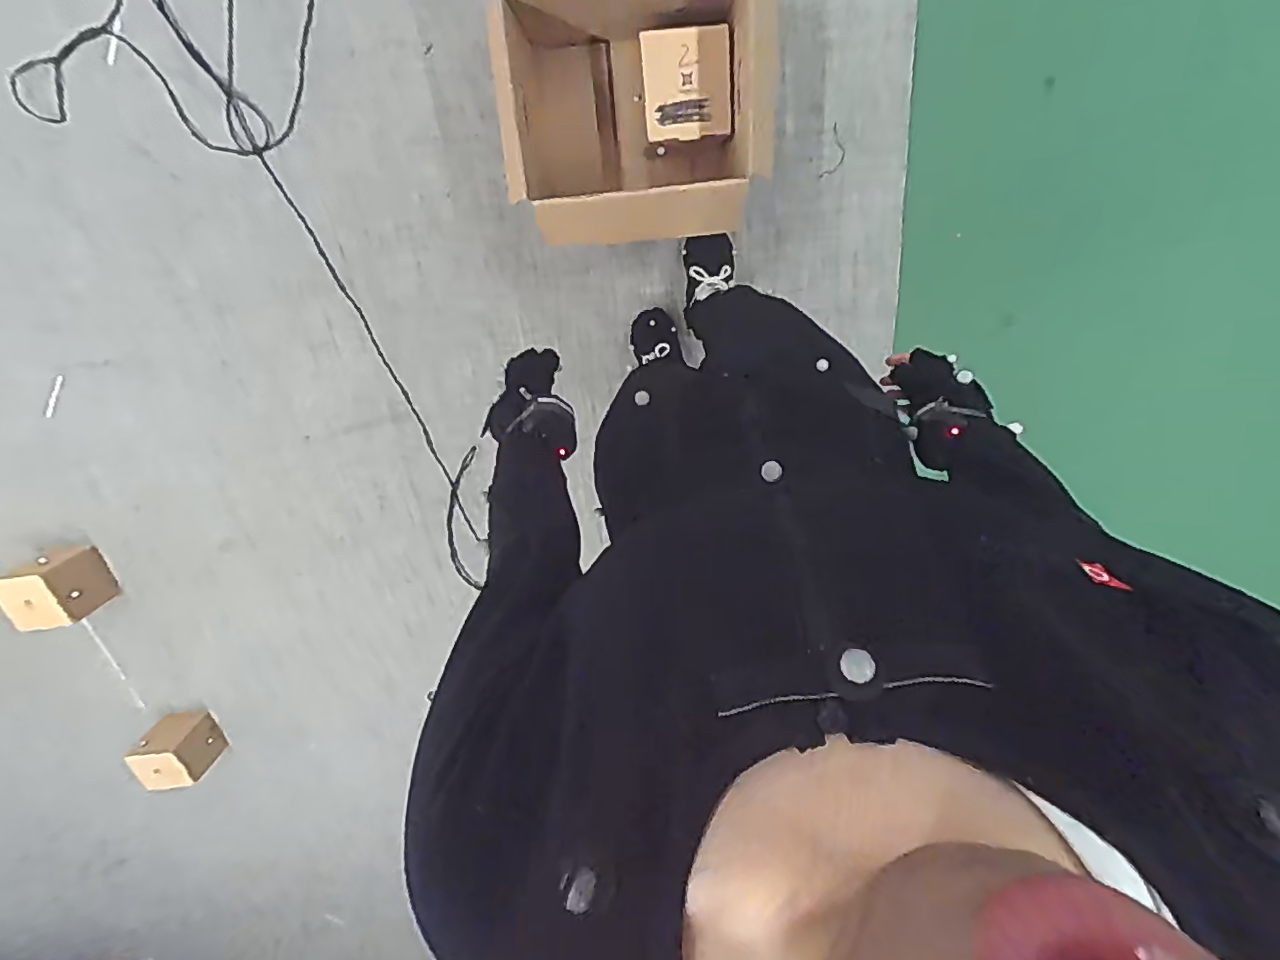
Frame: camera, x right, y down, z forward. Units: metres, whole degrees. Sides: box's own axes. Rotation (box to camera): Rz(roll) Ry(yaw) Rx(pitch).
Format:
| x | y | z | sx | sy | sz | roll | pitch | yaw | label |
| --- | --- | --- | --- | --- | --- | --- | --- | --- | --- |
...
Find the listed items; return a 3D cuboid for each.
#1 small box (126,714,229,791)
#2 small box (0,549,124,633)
| x | y | z | sx | sy | sz | roll | pitch | yaw | label |
| --- | --- | --- | --- | --- | --- | --- | --- | --- | --- |
| -1.580 | 0.931 | 1.858 | 0.179 | 0.176 | 0.168 | -7 | 114 | 3 | small box |
| -1.691 | 0.315 | 1.578 | 0.168 | 0.176 | 0.179 | -8 | 115 | 3 | small box |
